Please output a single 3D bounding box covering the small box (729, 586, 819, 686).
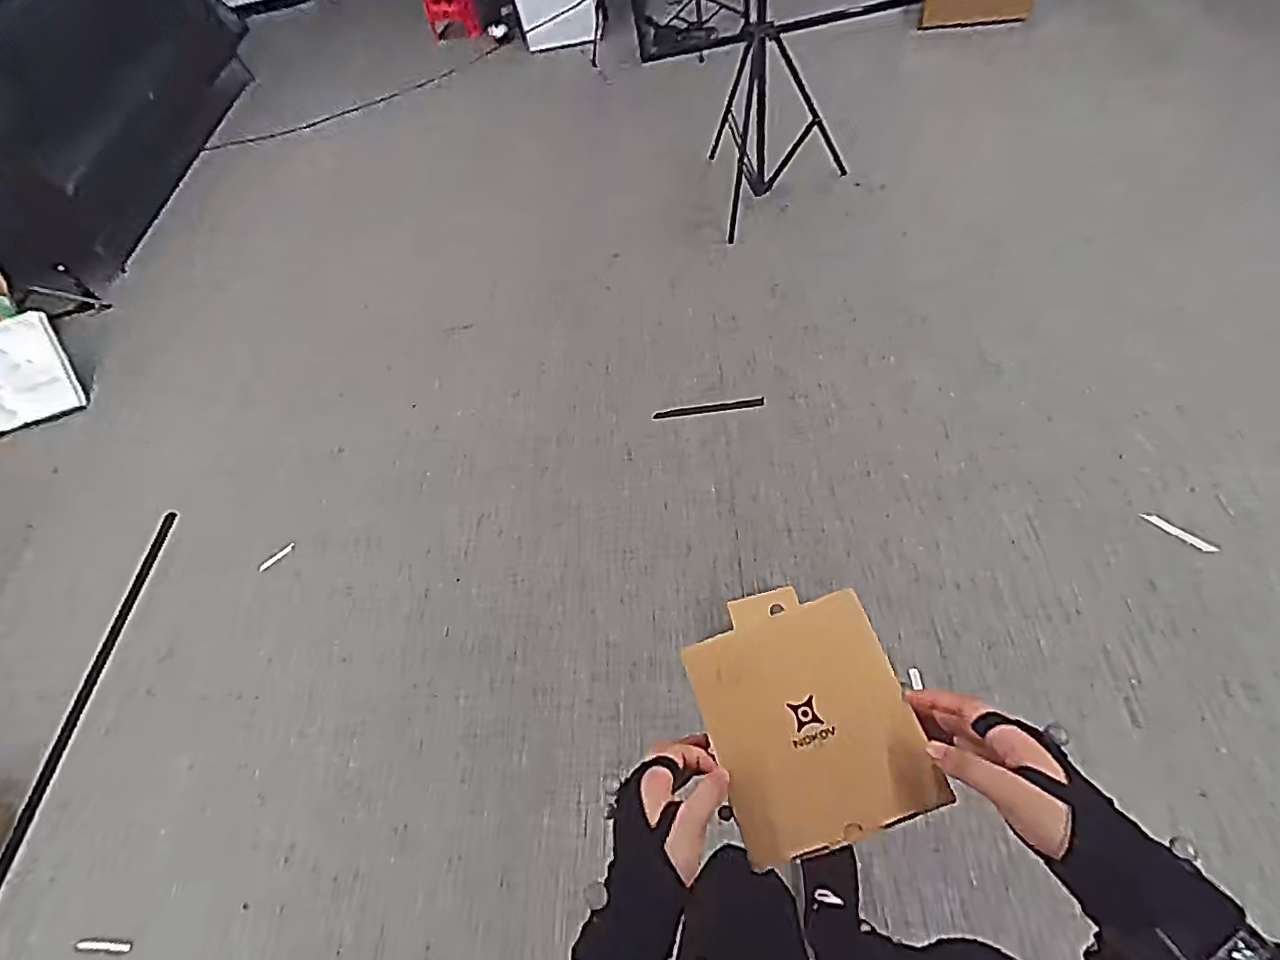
[{"bbox_3d":[0.319,0.384,1.318,0.168,0.176,0.179,-15,59,4],"label":"small box"}]
